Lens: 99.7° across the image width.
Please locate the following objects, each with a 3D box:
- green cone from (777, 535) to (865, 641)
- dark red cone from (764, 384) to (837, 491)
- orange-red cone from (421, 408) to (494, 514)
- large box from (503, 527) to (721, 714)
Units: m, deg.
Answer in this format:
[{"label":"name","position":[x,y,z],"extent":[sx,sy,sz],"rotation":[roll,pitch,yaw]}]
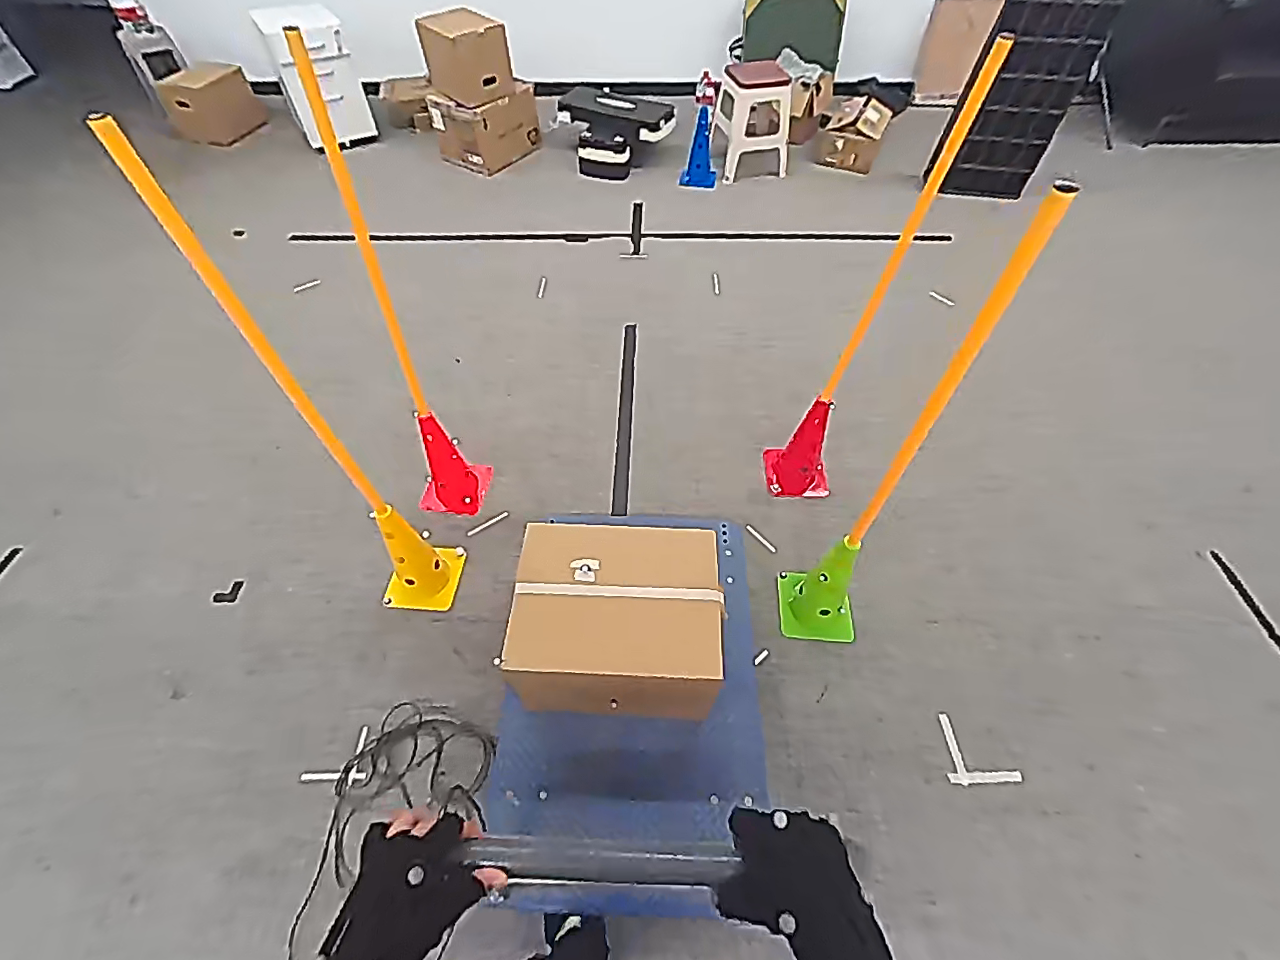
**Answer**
[{"label":"green cone","position":[0.500,0.255,1.411],"extent":[0.202,0.368,0.200],"rotation":[5,53,2]},{"label":"dark red cone","position":[0.532,-0.142,1.688],"extent":[0.201,0.394,0.202],"rotation":[2,53,-1]},{"label":"orange-red cone","position":[-0.601,-0.083,1.663],"extent":[0.198,0.360,0.199],"rotation":[8,52,4]},{"label":"large box","position":[-0.044,0.315,1.185],"extent":[0.408,0.320,0.320],"rotation":[2,53,2]}]
